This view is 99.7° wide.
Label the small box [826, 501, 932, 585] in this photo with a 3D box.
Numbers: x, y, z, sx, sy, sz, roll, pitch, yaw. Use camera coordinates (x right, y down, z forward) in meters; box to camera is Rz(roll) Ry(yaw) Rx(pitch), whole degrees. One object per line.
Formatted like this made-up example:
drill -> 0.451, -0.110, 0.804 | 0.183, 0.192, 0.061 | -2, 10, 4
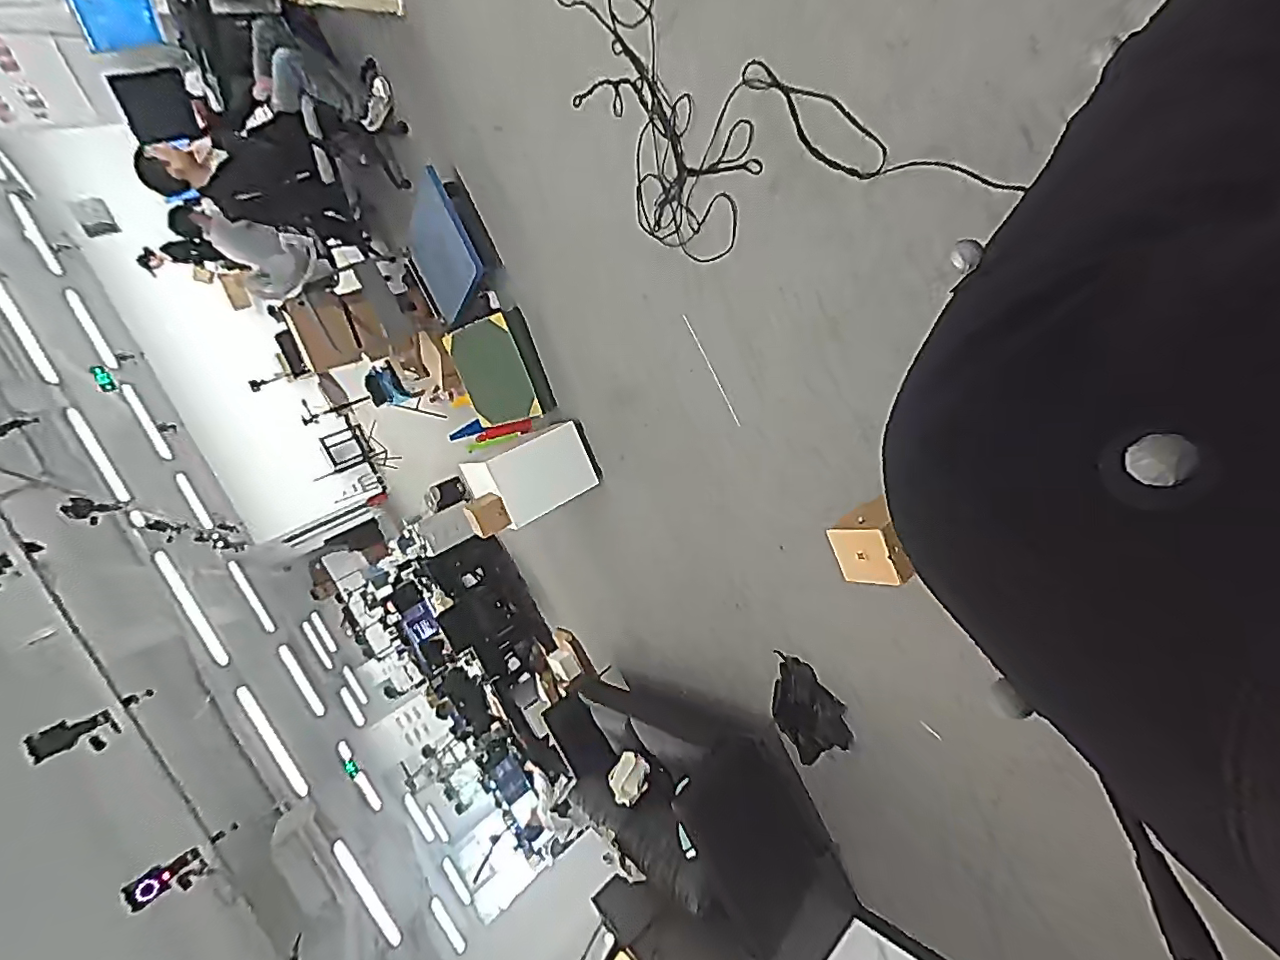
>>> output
small box -> 0.650, 0.167, 1.470 | 0.179, 0.176, 0.168 | -10, 107, 59
